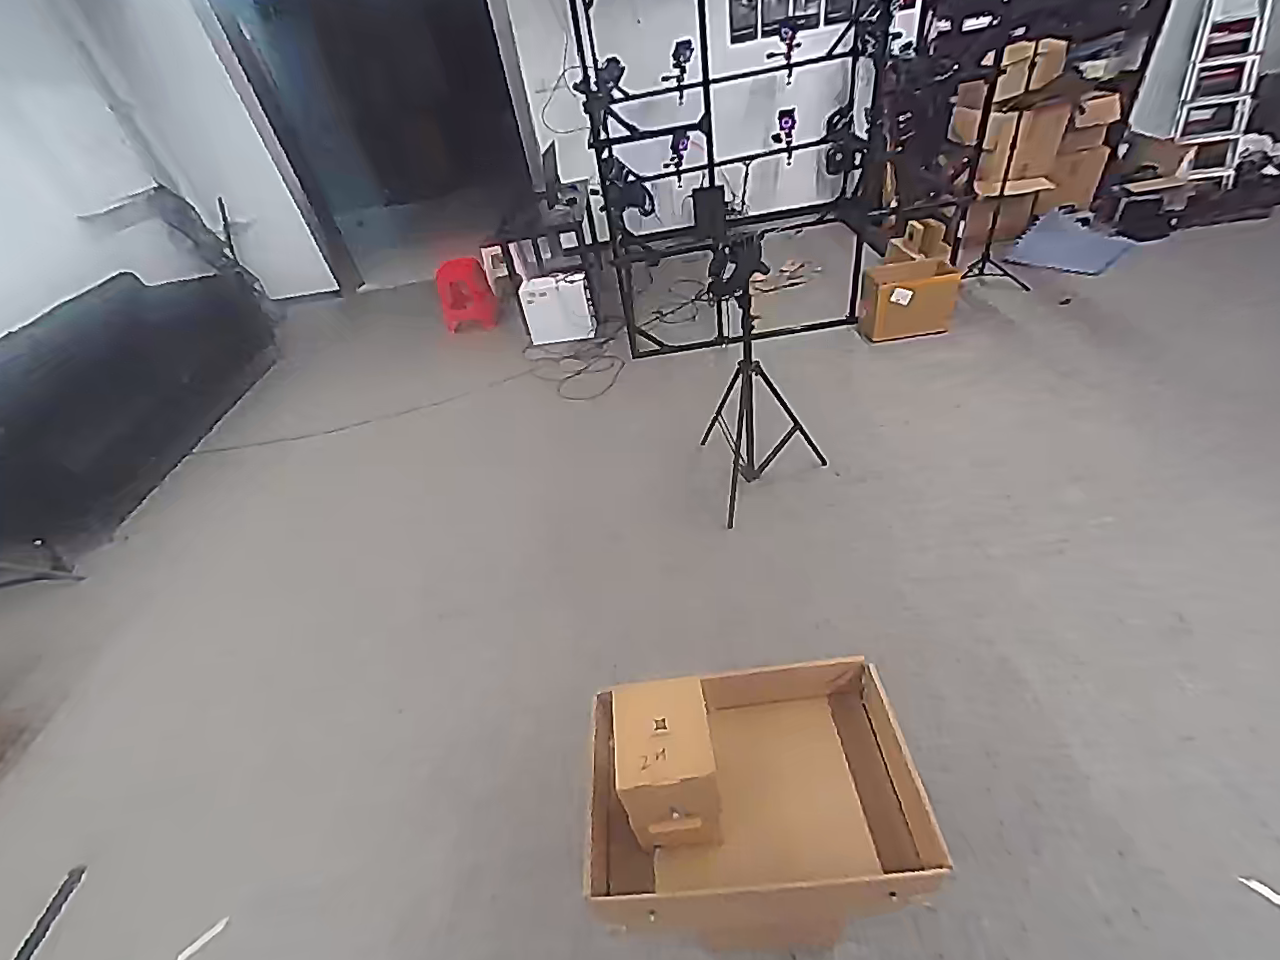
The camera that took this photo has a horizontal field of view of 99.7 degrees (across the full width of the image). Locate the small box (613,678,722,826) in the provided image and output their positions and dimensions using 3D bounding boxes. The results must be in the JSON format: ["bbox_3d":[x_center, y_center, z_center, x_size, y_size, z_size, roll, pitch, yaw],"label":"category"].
[{"bbox_3d":[0.048,0.488,0.974,0.168,0.176,0.179,-10,39,3],"label":"small box"}]

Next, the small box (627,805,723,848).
[{"bbox_3d":[0.069,0.611,1.082,0.168,0.176,0.179,-9,38,4],"label":"small box"}]
